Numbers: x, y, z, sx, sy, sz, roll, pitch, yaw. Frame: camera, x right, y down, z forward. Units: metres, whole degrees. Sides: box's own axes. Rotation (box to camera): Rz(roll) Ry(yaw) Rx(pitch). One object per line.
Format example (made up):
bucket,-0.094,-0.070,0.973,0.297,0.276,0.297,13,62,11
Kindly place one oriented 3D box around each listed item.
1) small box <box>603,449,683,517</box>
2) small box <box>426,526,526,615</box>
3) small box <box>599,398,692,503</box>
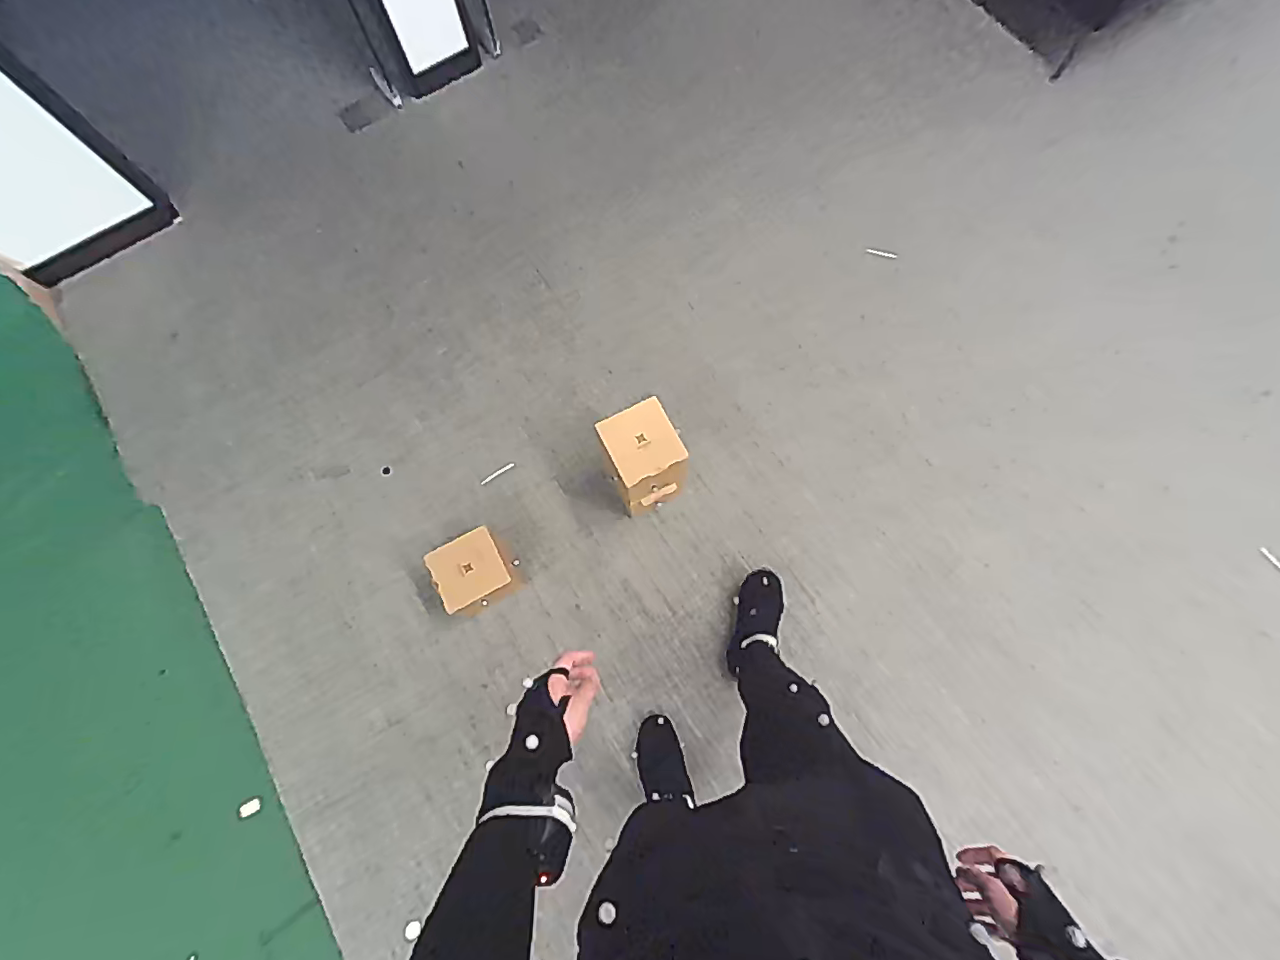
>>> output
small box,0.010,-0.017,1.485,0.168,0.176,0.179,-22,76,-2
small box,-0.425,0.245,1.425,0.179,0.176,0.168,-27,76,-7
small box,0.010,-0.067,1.332,0.168,0.176,0.179,-26,76,-6
